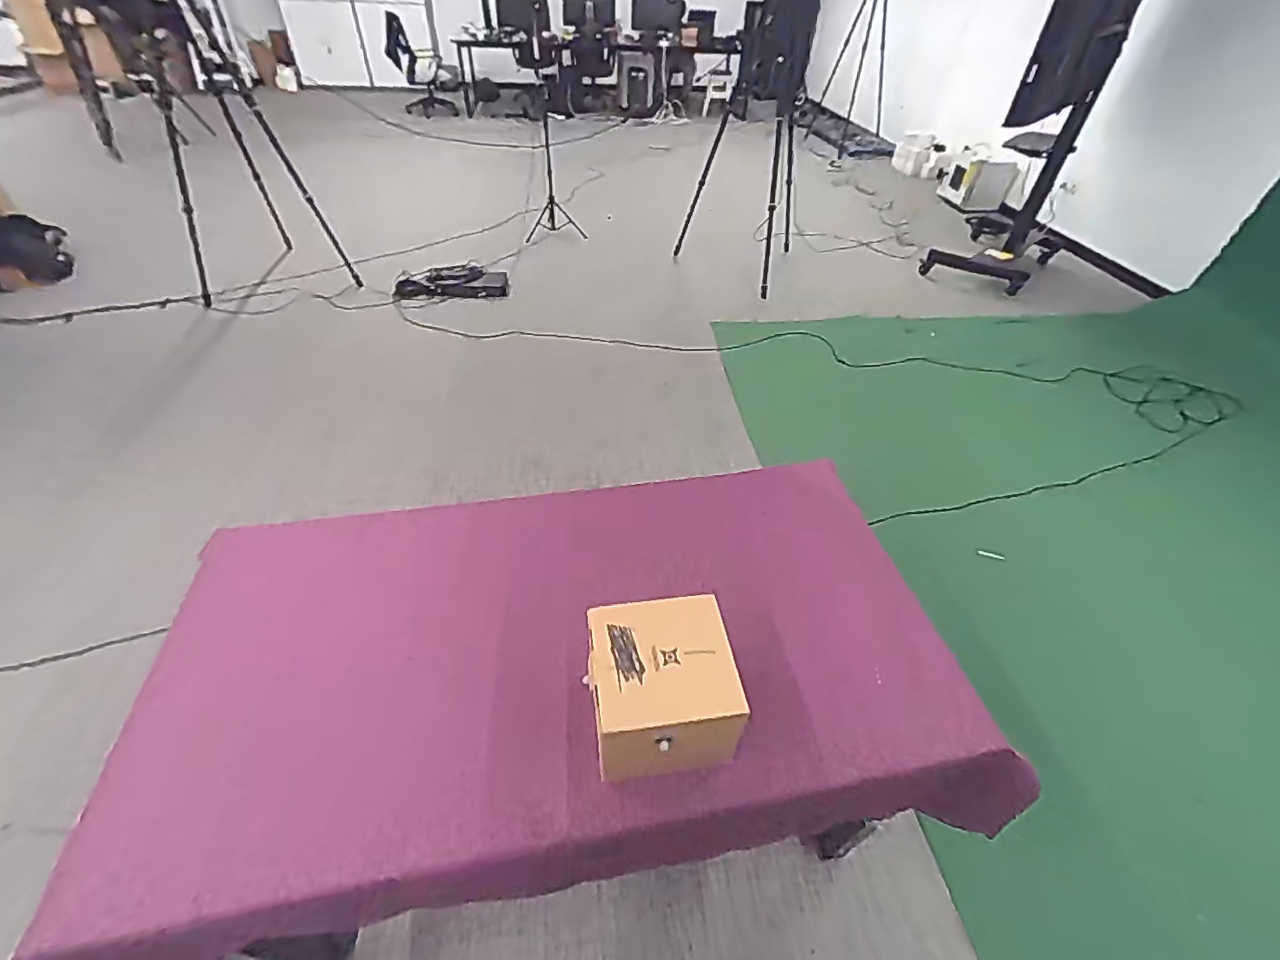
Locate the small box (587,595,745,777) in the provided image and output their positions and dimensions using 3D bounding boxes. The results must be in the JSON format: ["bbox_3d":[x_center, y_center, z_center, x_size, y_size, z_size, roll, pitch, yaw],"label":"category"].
[{"bbox_3d":[0.025,0.278,0.727,0.179,0.176,0.168,-4,45,-8],"label":"small box"}]
